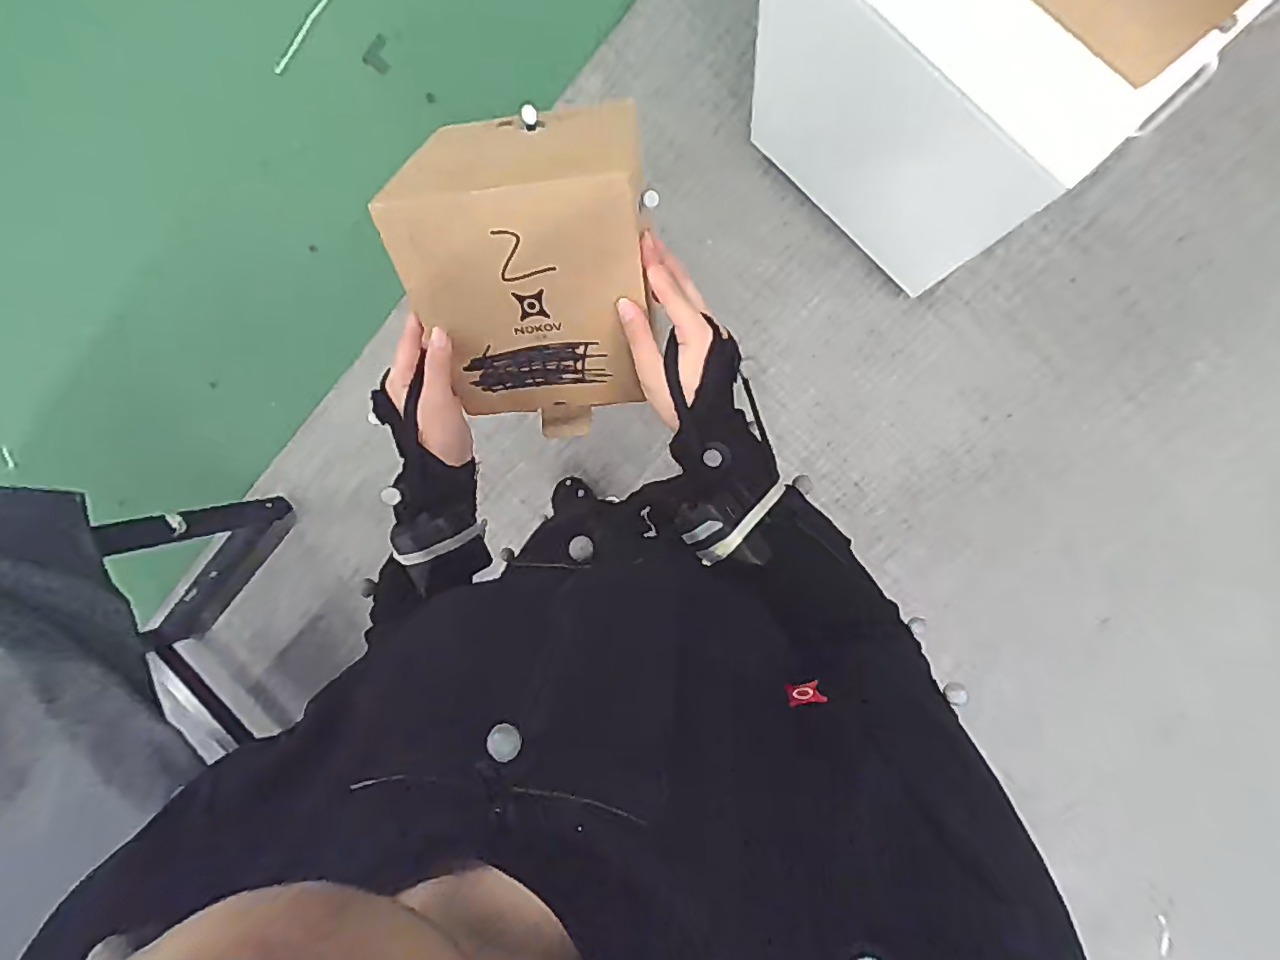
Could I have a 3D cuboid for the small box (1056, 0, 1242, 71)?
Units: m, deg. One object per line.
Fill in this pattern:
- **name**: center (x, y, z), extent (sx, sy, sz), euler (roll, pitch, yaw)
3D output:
- **small box**: center (0.547, -0.554, 0.518), extent (0.179, 0.176, 0.168), euler (44, 102, 3)
